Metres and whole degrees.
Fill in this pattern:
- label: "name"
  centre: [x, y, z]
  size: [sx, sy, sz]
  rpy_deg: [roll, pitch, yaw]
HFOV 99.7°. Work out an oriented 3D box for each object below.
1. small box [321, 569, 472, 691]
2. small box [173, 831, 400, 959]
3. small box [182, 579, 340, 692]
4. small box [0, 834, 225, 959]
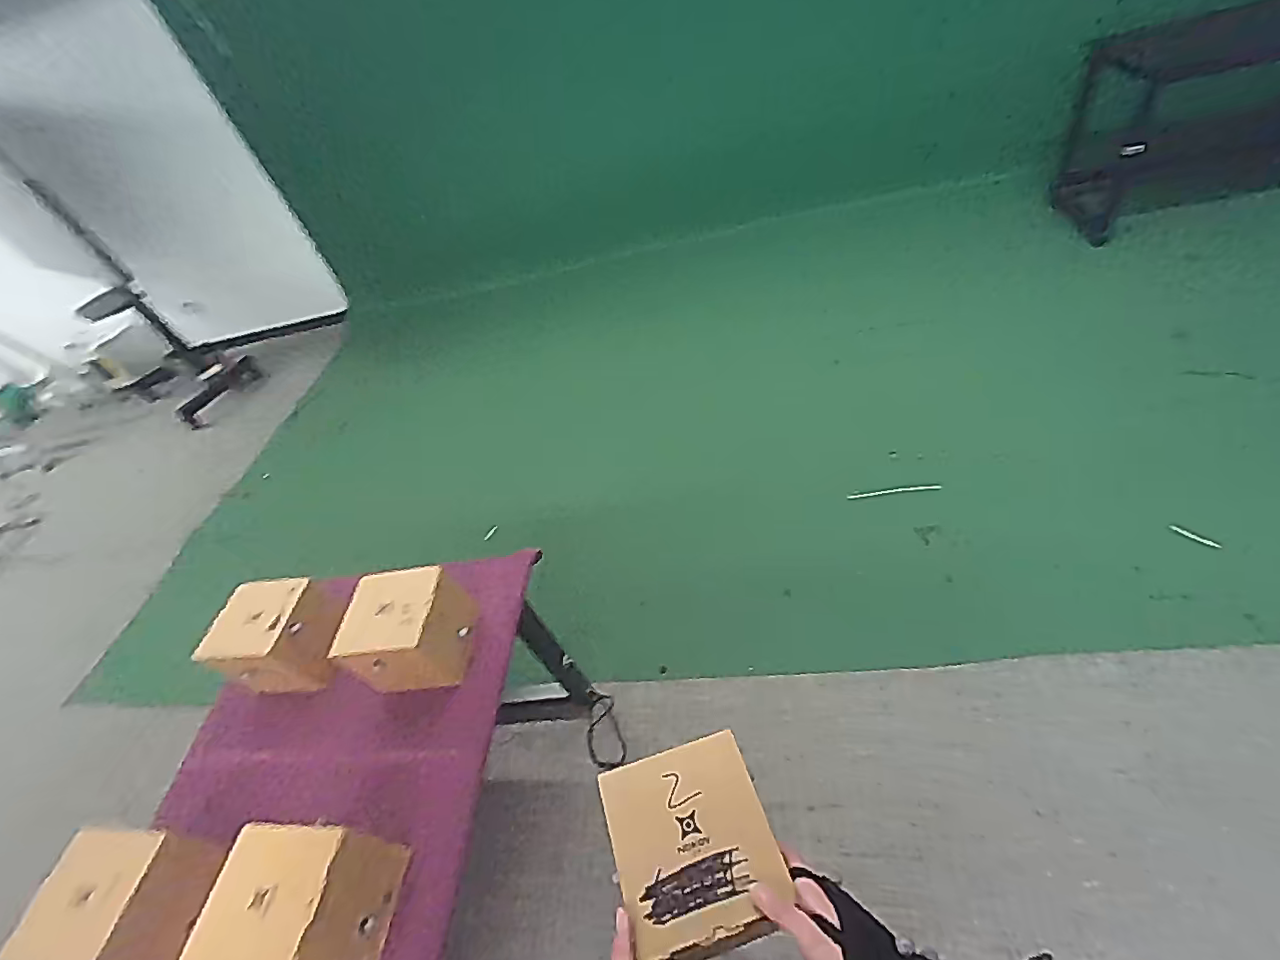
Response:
- label: "small box"
  centre: [-0.449, 0.290, 1.027]
  size: [0.179, 0.176, 0.168]
  rpy_deg: [-8, 48, 10]
- label: "small box"
  centre: [-0.476, 0.604, 0.750]
  size: [0.179, 0.176, 0.168]
  rpy_deg: [-6, 46, 12]
- label: "small box"
  centre: [-0.746, 0.320, 1.094]
  size: [0.179, 0.176, 0.168]
  rpy_deg: [-6, 48, 11]
- label: "small box"
  centre: [-0.776, 0.645, 0.805]
  size: [0.179, 0.176, 0.168]
  rpy_deg: [-4, 48, 12]
